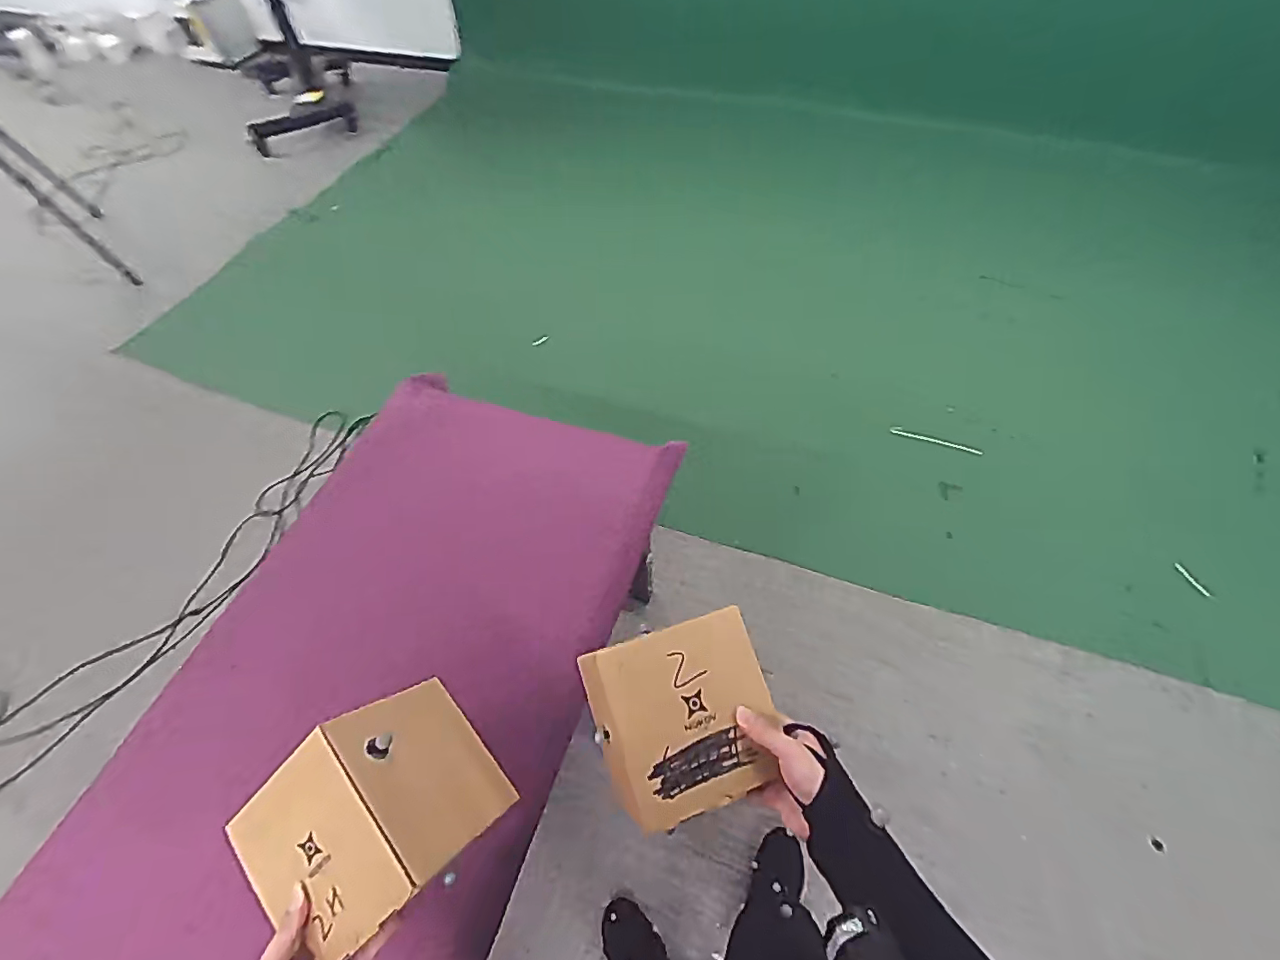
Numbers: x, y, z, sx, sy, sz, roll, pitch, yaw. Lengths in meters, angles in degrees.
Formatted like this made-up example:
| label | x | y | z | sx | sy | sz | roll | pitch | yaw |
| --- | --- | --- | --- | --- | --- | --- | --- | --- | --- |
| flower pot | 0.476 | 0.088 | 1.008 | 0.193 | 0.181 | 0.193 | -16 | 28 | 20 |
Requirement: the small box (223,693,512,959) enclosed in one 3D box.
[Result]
| label | x | y | z | sx | sy | sz | roll | pitch | yaw |
| --- | --- | --- | --- | --- | --- | --- | --- | --- | --- |
| small box | -0.273 | 0.348 | 0.566 | 0.168 | 0.176 | 0.179 | -44 | 72 | 11 |
